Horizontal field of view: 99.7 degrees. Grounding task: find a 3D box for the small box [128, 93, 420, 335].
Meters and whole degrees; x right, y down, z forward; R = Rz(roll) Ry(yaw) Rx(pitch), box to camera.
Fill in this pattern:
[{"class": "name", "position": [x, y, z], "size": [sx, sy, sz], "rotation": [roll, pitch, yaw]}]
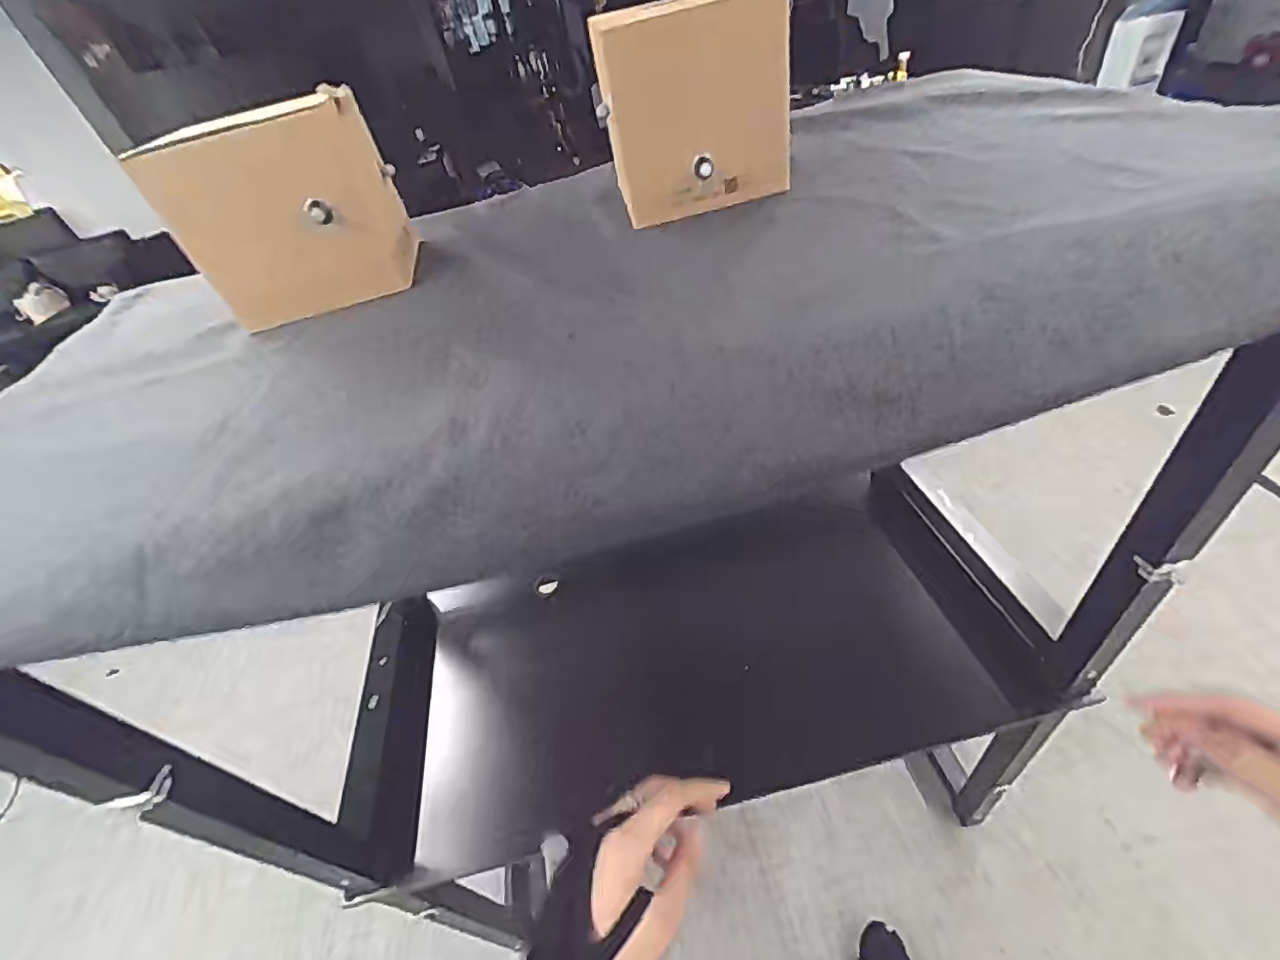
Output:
[{"class": "small box", "position": [-0.352, -0.279, 0.569], "size": [0.179, 0.176, 0.168], "rotation": [-17, 42, -4]}]
